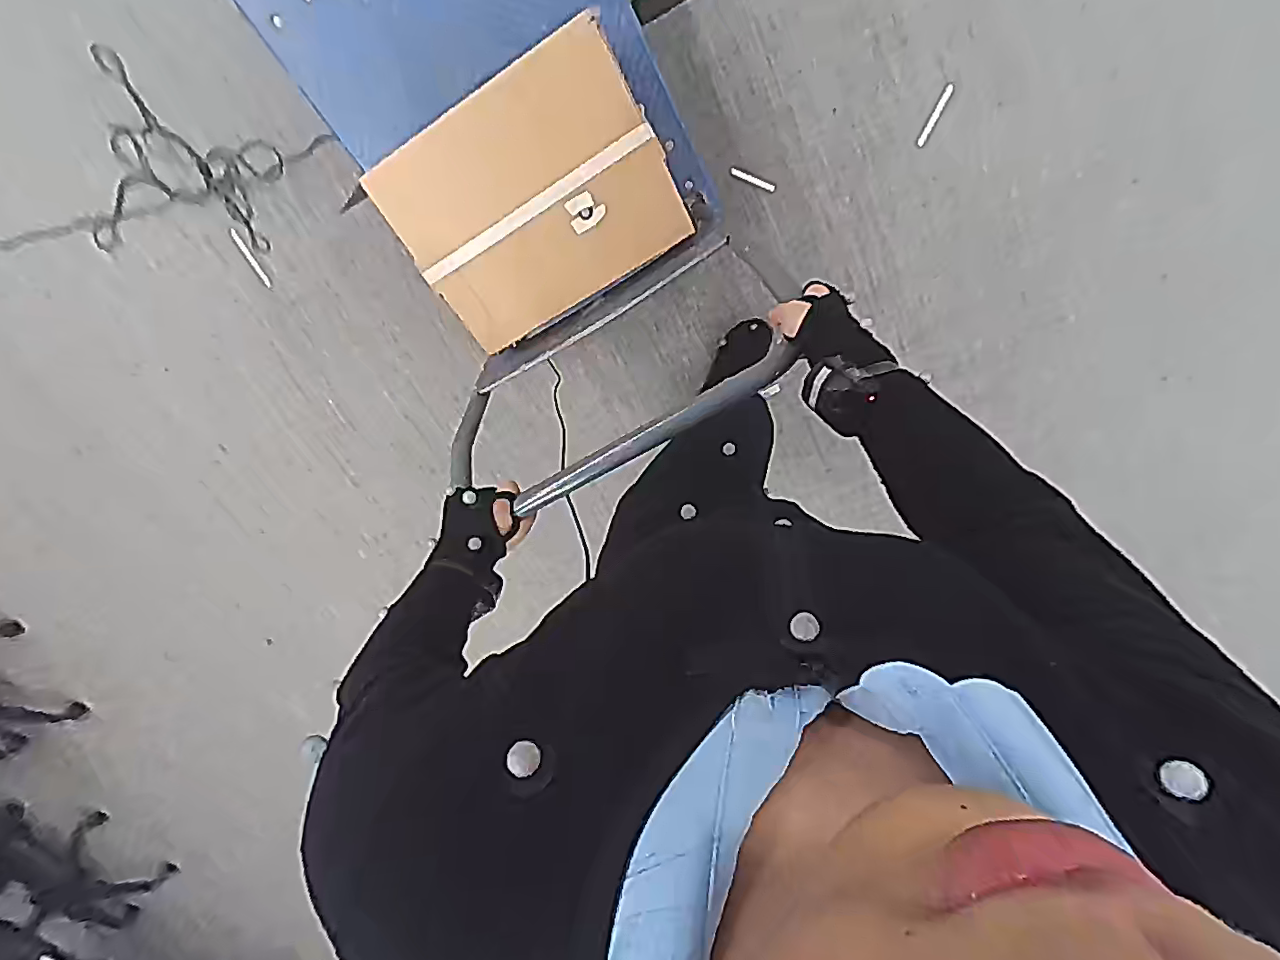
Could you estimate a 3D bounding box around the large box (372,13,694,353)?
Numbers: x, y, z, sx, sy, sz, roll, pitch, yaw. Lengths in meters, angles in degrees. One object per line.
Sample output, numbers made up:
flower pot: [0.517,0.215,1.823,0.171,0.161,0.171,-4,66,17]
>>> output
large box: [-0.167,-0.494,0.956,0.408,0.320,0.320,-28,120,12]
